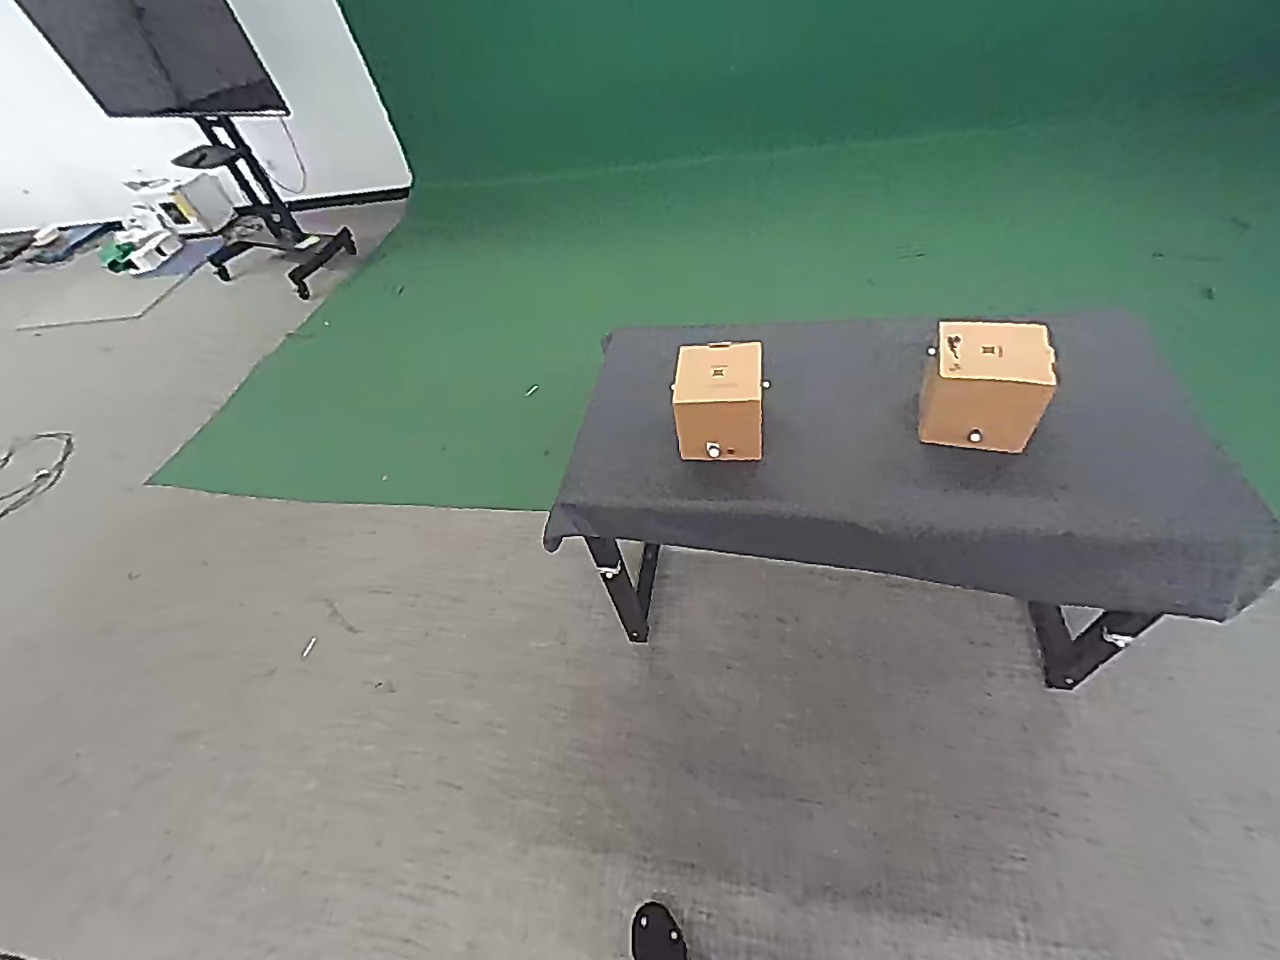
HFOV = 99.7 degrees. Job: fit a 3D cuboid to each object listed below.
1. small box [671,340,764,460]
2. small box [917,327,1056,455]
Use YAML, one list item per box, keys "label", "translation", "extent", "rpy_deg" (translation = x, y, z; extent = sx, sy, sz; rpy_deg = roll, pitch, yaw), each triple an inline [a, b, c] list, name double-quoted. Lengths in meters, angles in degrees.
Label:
- label: "small box"
  translation: [0.164, -0.161, 1.097]
  extent: [0.168, 0.176, 0.179]
  rpy_deg: [0, 50, 15]
- label: "small box"
  translation: [0.641, -0.166, 1.021]
  extent: [0.179, 0.176, 0.168]
  rpy_deg: [9, 53, 19]
